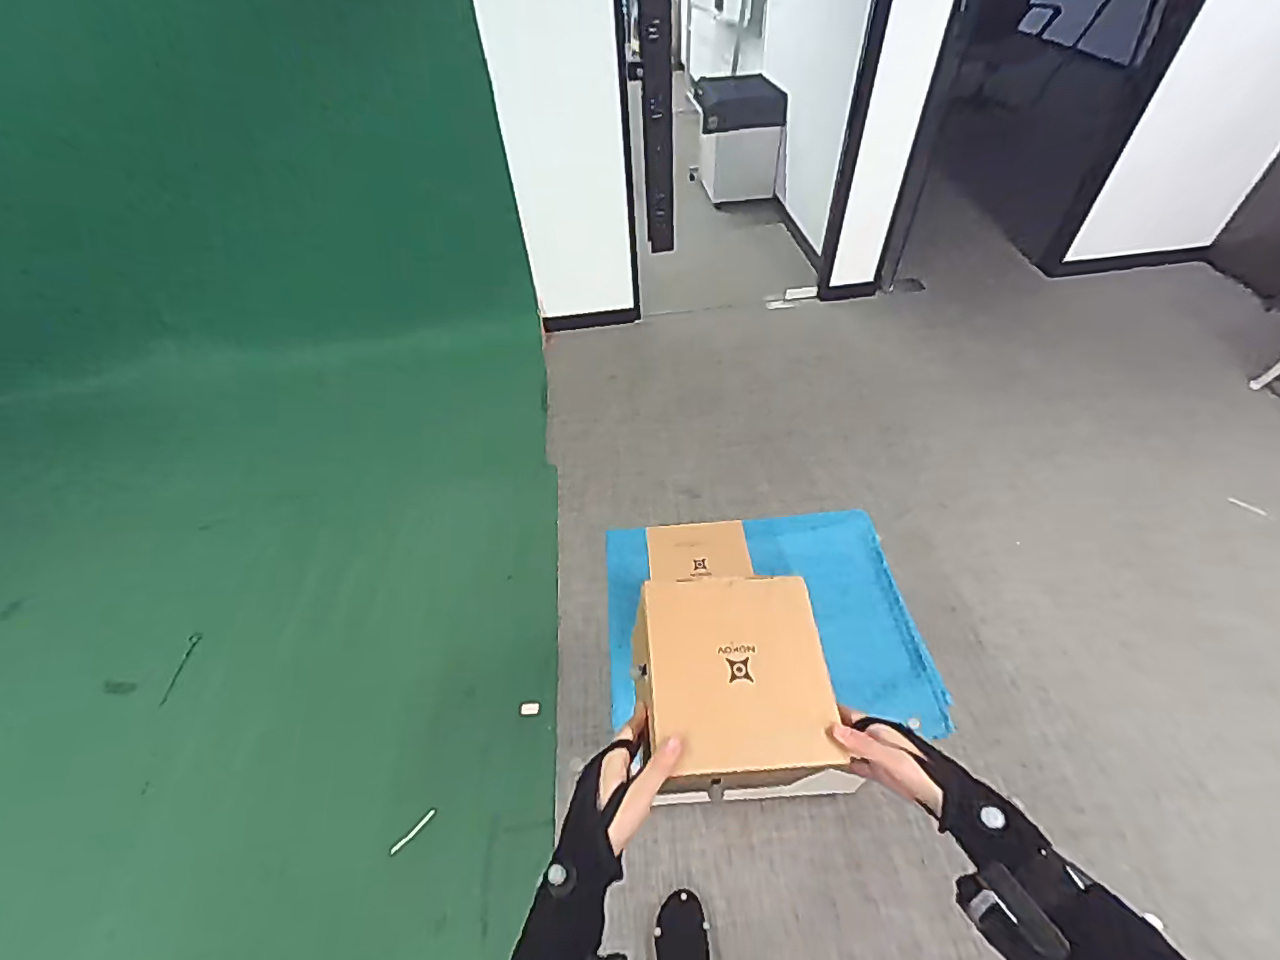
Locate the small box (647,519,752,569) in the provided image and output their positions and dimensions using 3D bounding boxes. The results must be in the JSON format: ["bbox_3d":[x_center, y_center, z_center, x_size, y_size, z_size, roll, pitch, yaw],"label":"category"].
[{"bbox_3d":[0.100,0.189,0.916,0.168,0.176,0.179,-3,47,-1],"label":"small box"}]

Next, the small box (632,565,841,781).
[{"bbox_3d":[0.080,0.204,0.558,0.168,0.176,0.179,-1,54,-5],"label":"small box"}]
